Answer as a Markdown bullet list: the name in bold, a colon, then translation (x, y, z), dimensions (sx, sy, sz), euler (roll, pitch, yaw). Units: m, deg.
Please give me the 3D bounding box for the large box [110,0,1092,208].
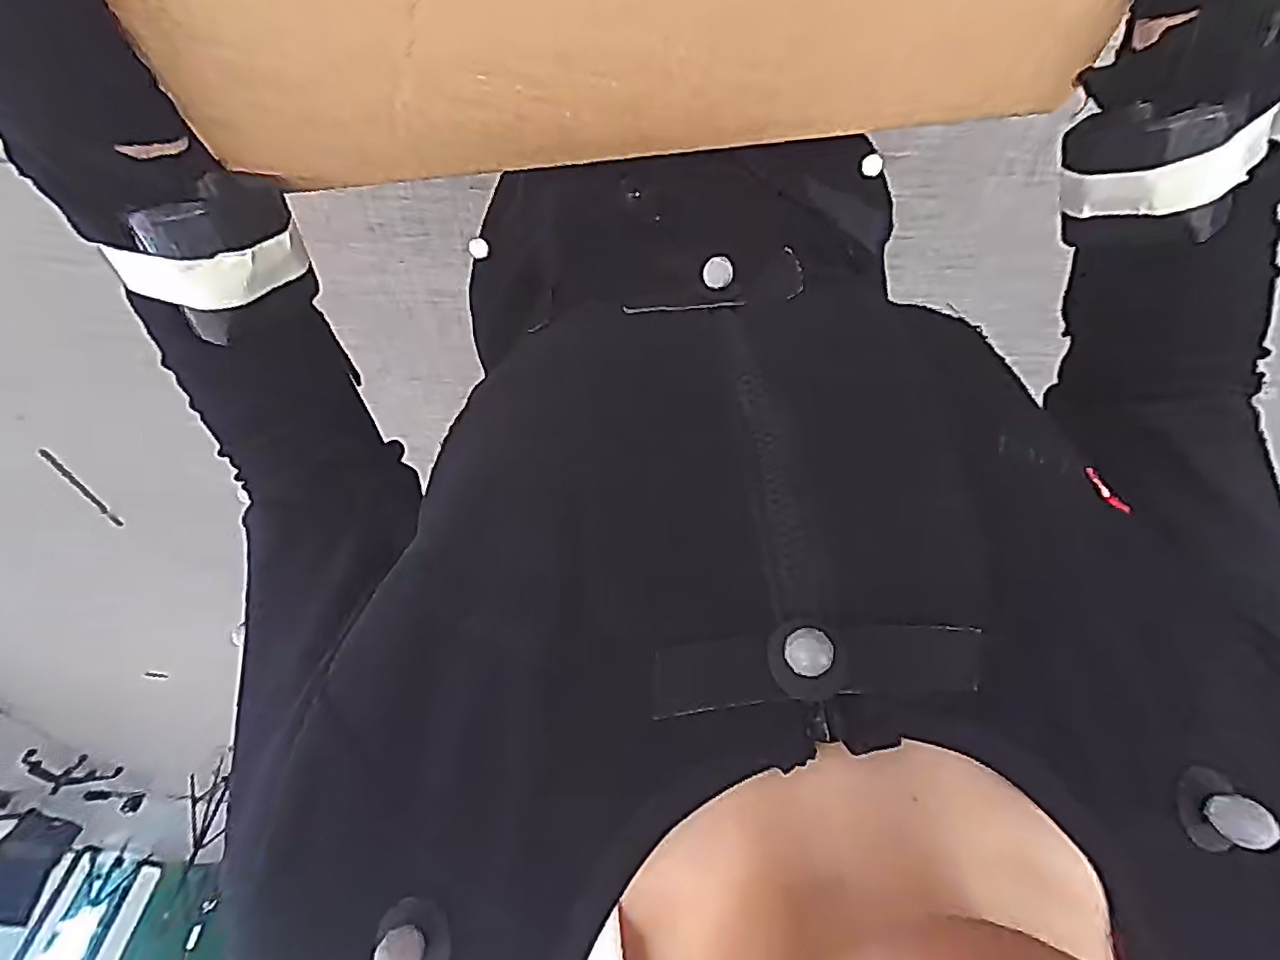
- **large box**: translation (-0.016, -0.363, 0.204), dimensions (0.408, 0.320, 0.320), euler (-7, 155, -1)
